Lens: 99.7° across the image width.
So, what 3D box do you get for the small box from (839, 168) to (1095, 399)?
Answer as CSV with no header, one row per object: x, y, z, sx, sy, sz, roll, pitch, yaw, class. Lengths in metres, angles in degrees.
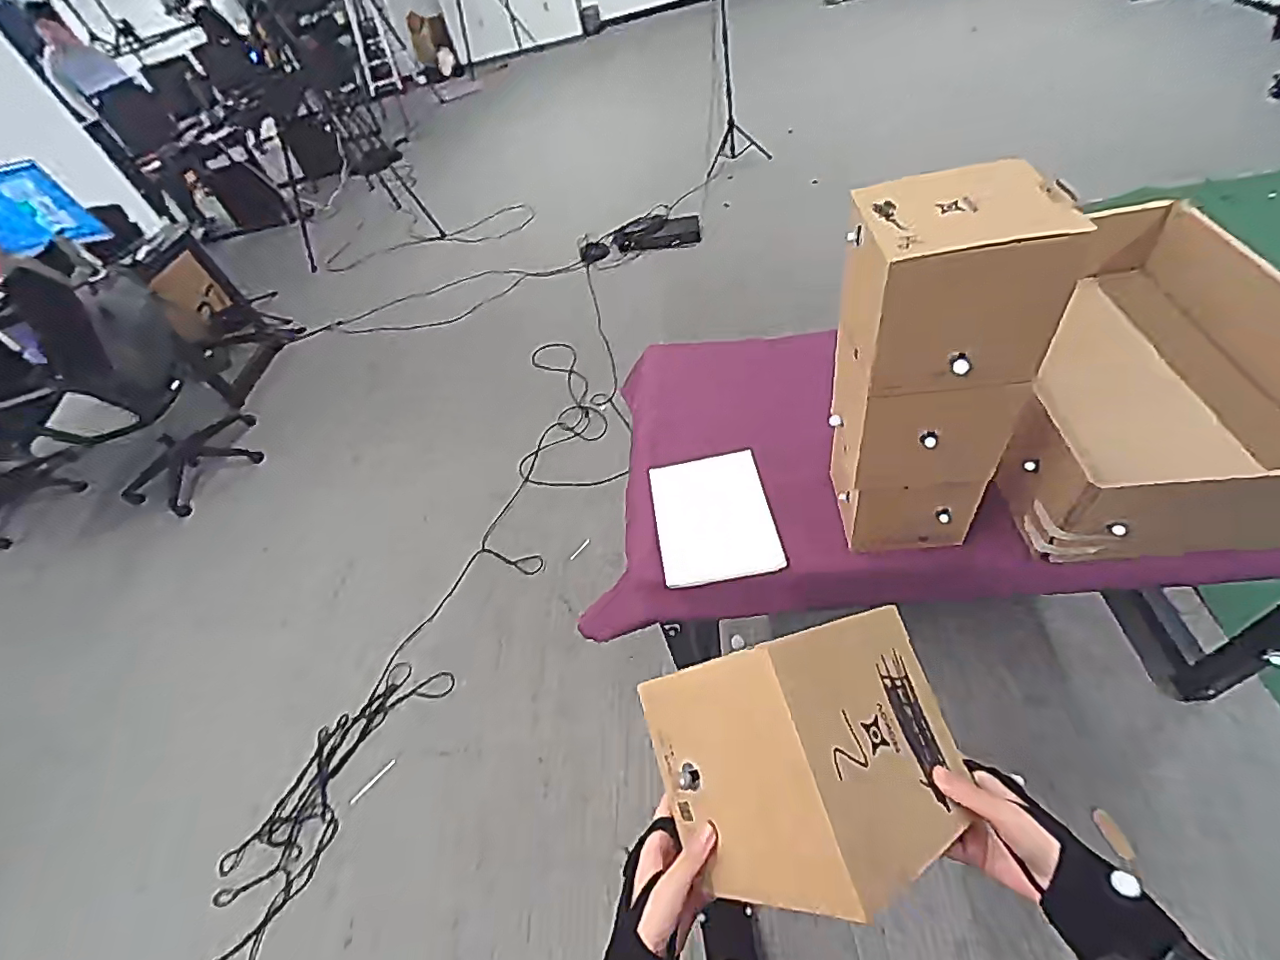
0.328,-0.208,0.591,0.179,0.176,0.168,-5,47,10,small box

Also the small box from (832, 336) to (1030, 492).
0.361,-0.101,0.712,0.179,0.176,0.168,-5,48,11,small box

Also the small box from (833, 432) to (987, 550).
0.400,-0.003,0.837,0.168,0.176,0.179,-5,47,10,small box
